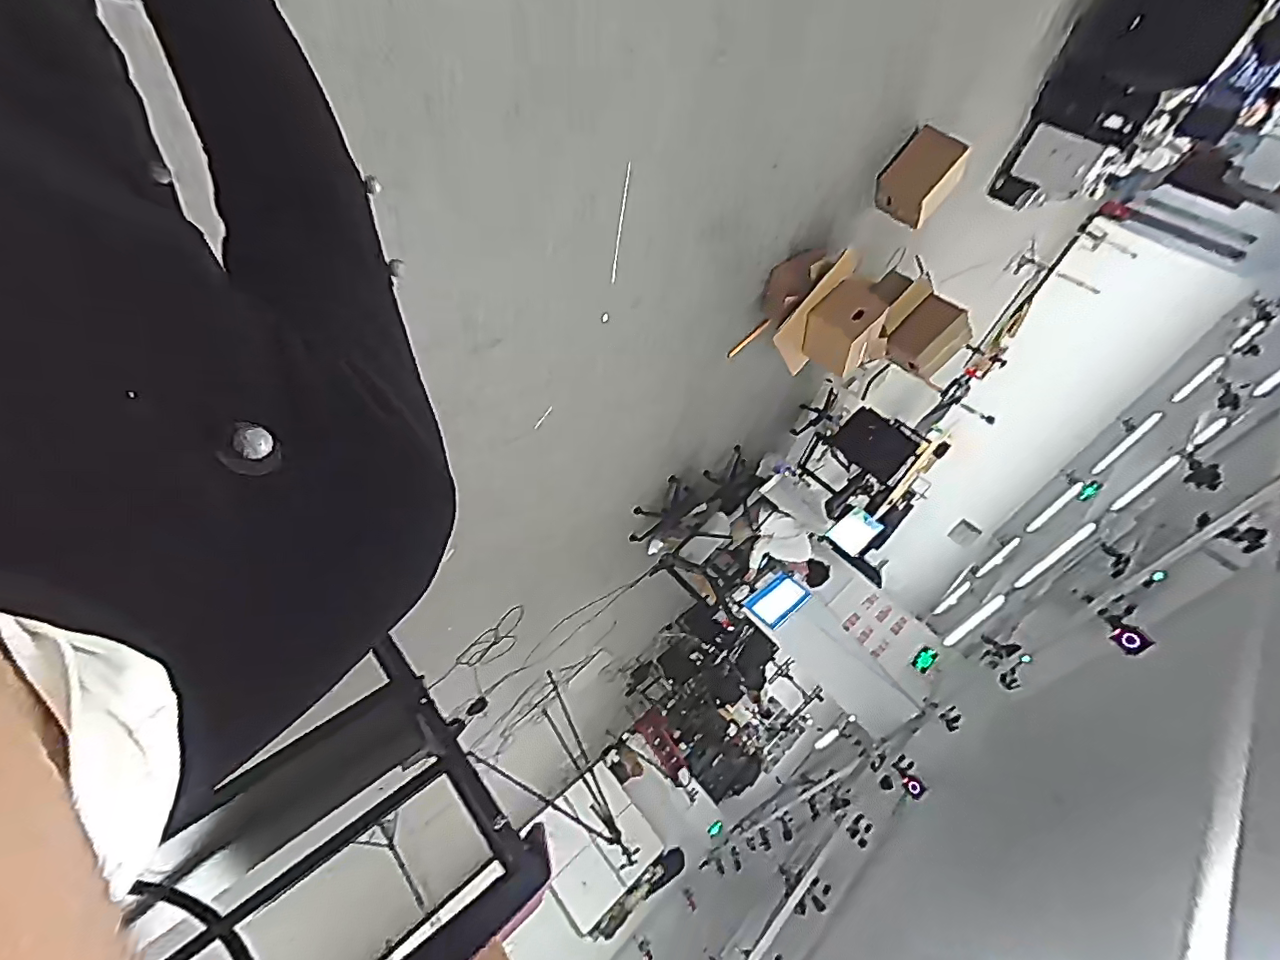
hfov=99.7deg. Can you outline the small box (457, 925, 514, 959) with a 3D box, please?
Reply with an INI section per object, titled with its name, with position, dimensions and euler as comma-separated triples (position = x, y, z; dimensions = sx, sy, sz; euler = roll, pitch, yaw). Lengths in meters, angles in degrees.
[small box]
position = -0.439, 1.395, 1.505
dimensions = 0.179, 0.176, 0.168
euler = -31, 152, -32
